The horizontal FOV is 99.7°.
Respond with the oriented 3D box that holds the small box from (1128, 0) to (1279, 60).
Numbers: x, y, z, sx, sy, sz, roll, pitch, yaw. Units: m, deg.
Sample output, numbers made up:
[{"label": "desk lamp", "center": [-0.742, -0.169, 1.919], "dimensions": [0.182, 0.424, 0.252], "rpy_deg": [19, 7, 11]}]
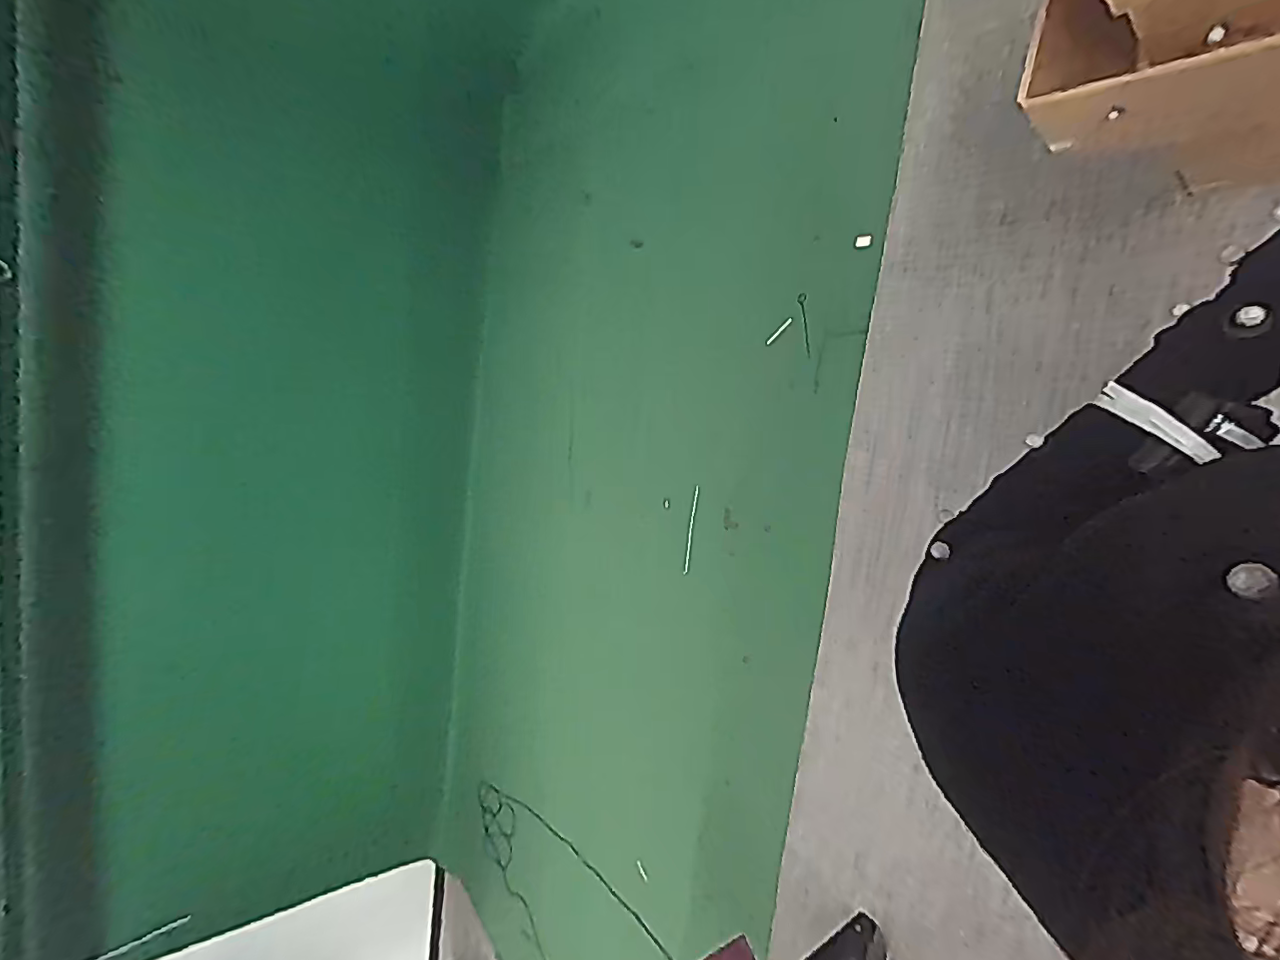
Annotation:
[{"label": "small box", "center": [0.742, -0.675, 0.663], "dimensions": [0.168, 0.176, 0.179], "rpy_deg": [20, 105, 51]}]
